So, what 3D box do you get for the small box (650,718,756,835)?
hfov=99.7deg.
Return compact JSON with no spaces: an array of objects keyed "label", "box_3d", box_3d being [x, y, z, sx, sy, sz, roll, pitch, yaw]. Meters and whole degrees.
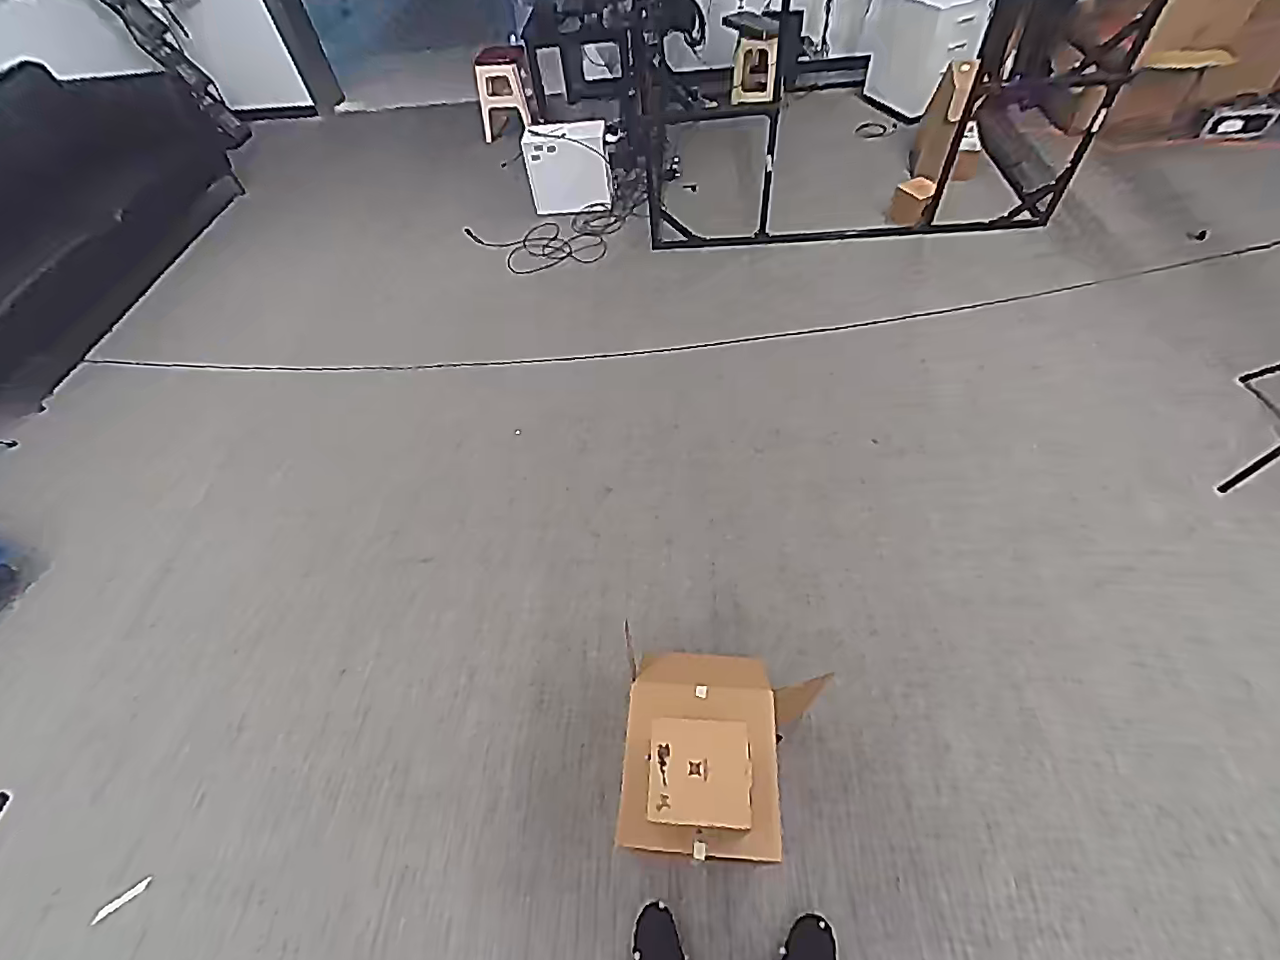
[{"label":"small box","box_3d":[0.114,0.549,0.996,0.179,0.176,0.168,1,55,6]}]
